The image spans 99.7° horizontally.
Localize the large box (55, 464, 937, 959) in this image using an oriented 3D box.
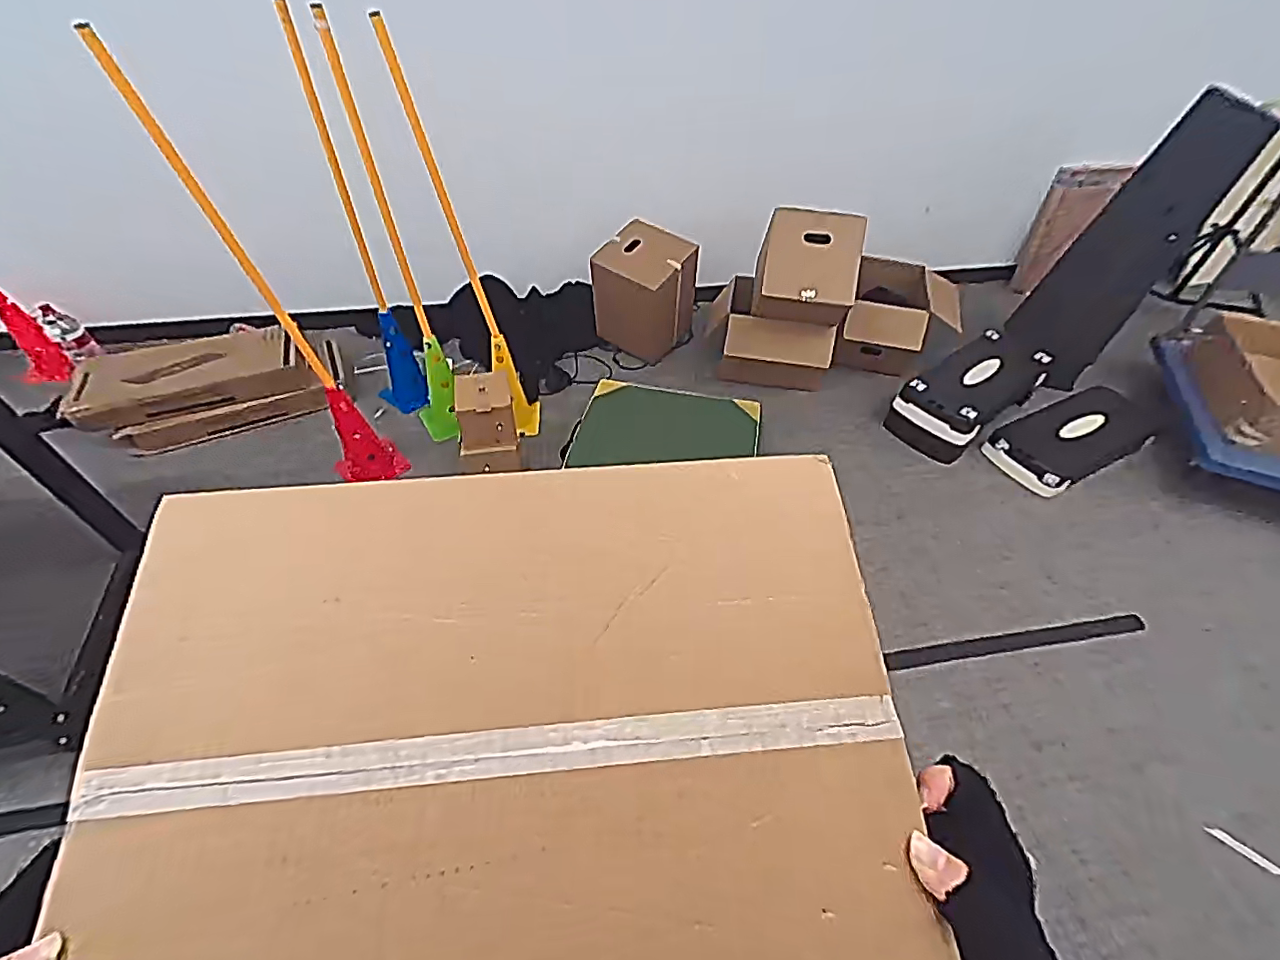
[{"bbox_3d":[-0.074,0.205,0.417,0.408,0.320,0.320,-4,66,-3],"label":"large box"}]
